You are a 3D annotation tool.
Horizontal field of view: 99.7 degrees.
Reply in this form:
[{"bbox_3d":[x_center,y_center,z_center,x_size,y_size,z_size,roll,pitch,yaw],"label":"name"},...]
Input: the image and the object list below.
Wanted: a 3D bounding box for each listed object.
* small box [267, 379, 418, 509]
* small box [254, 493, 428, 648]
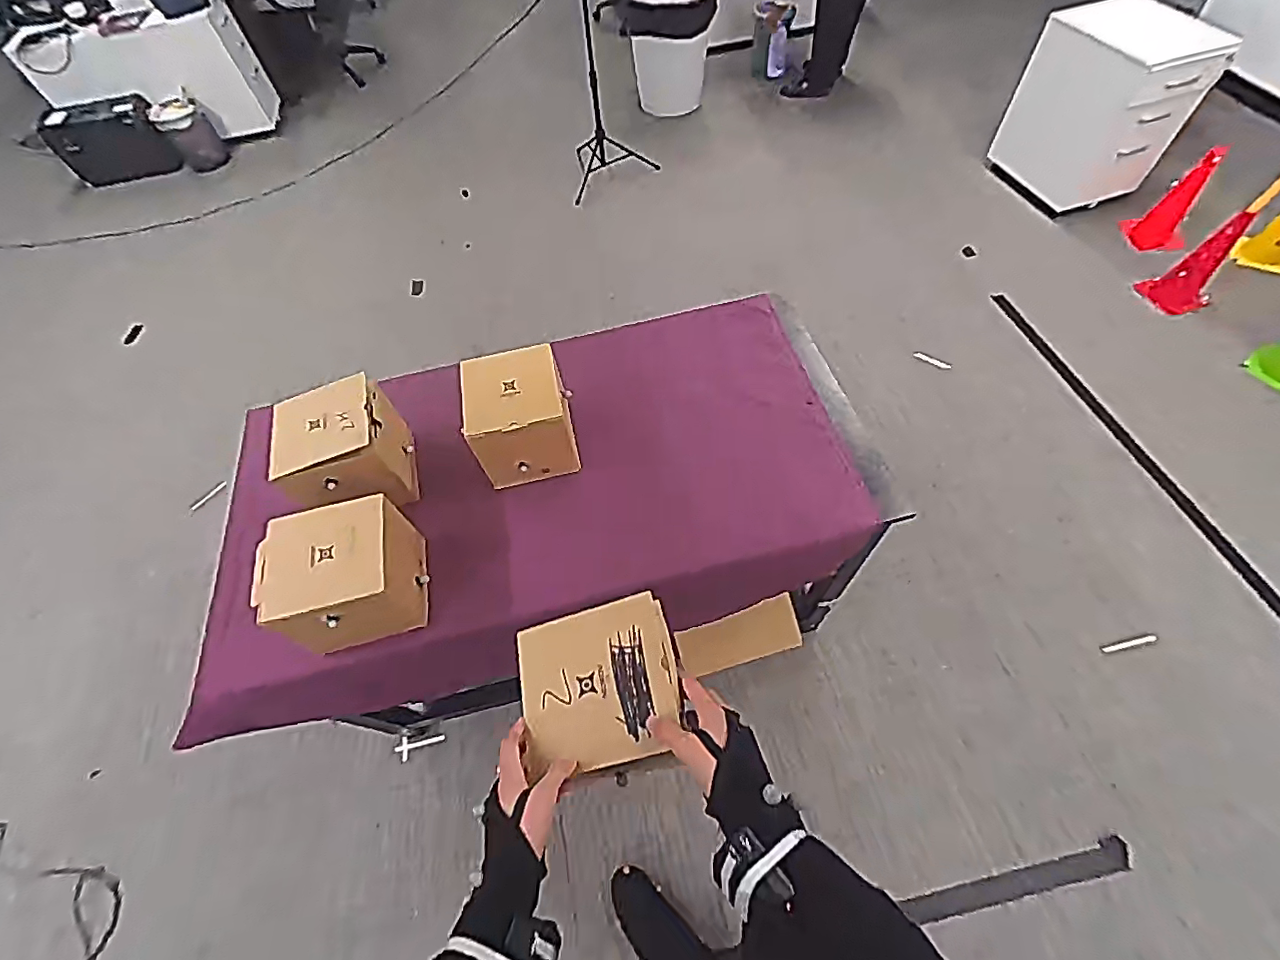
[{"bbox_3d":[-0.521,-0.048,0.967,0.179,0.176,0.168,-15,60,-6],"label":"small box"},{"bbox_3d":[-0.451,0.148,0.844,0.179,0.176,0.168,-13,59,-5],"label":"small box"}]
